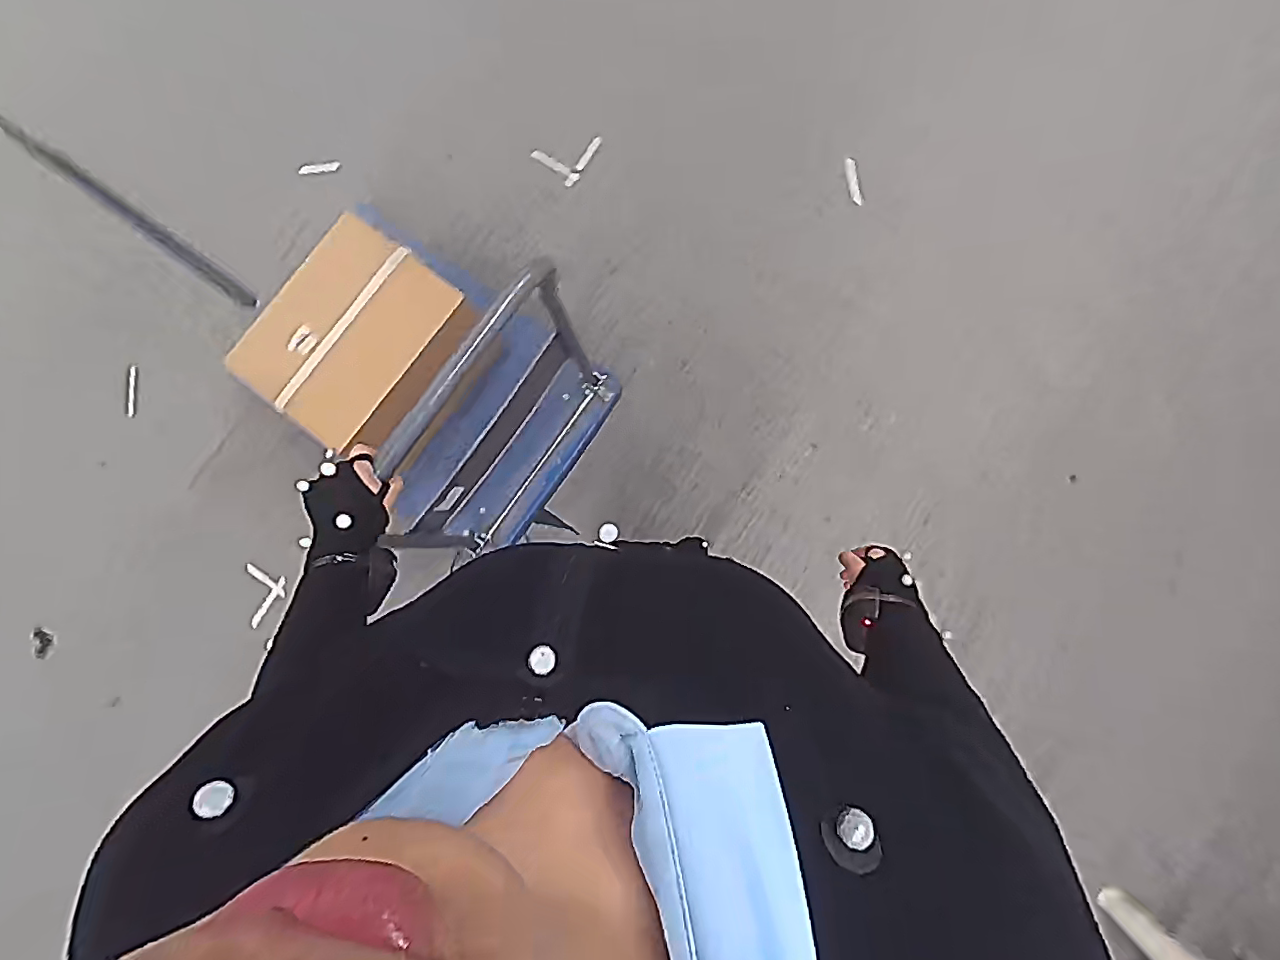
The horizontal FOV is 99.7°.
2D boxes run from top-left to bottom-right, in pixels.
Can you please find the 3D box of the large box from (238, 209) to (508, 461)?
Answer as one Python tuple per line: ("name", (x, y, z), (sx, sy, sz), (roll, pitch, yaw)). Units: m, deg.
("large box", (-0.571, -0.300, 1.235), (0.320, 0.320, 0.408), (37, 88, 5))
